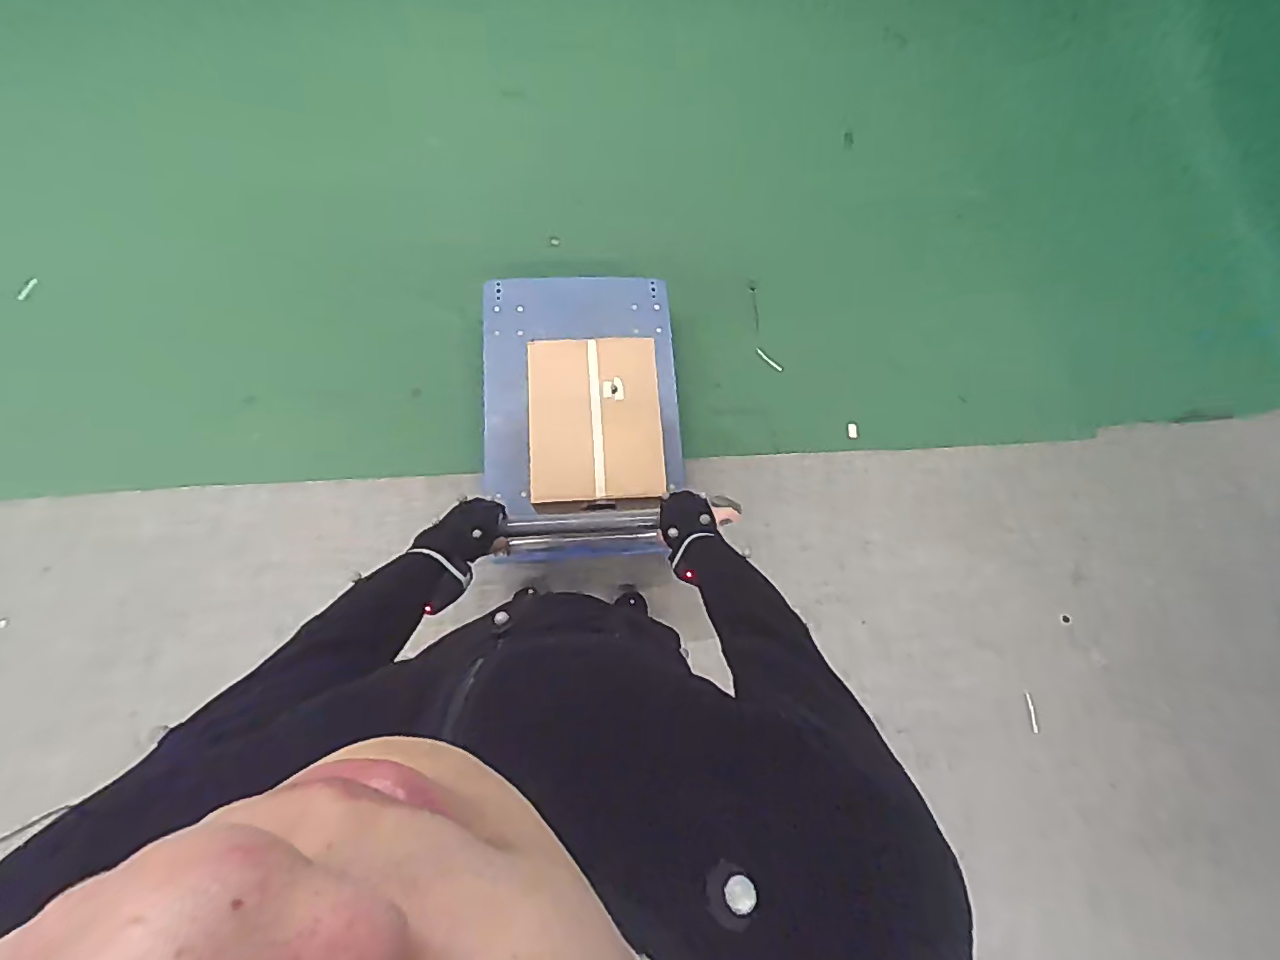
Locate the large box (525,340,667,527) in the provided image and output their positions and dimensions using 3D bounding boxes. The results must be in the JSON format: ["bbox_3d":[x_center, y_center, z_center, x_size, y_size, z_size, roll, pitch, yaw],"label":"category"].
[{"bbox_3d":[-0.121,-0.108,1.420,0.320,0.320,0.408,-3,76,-7],"label":"large box"}]
